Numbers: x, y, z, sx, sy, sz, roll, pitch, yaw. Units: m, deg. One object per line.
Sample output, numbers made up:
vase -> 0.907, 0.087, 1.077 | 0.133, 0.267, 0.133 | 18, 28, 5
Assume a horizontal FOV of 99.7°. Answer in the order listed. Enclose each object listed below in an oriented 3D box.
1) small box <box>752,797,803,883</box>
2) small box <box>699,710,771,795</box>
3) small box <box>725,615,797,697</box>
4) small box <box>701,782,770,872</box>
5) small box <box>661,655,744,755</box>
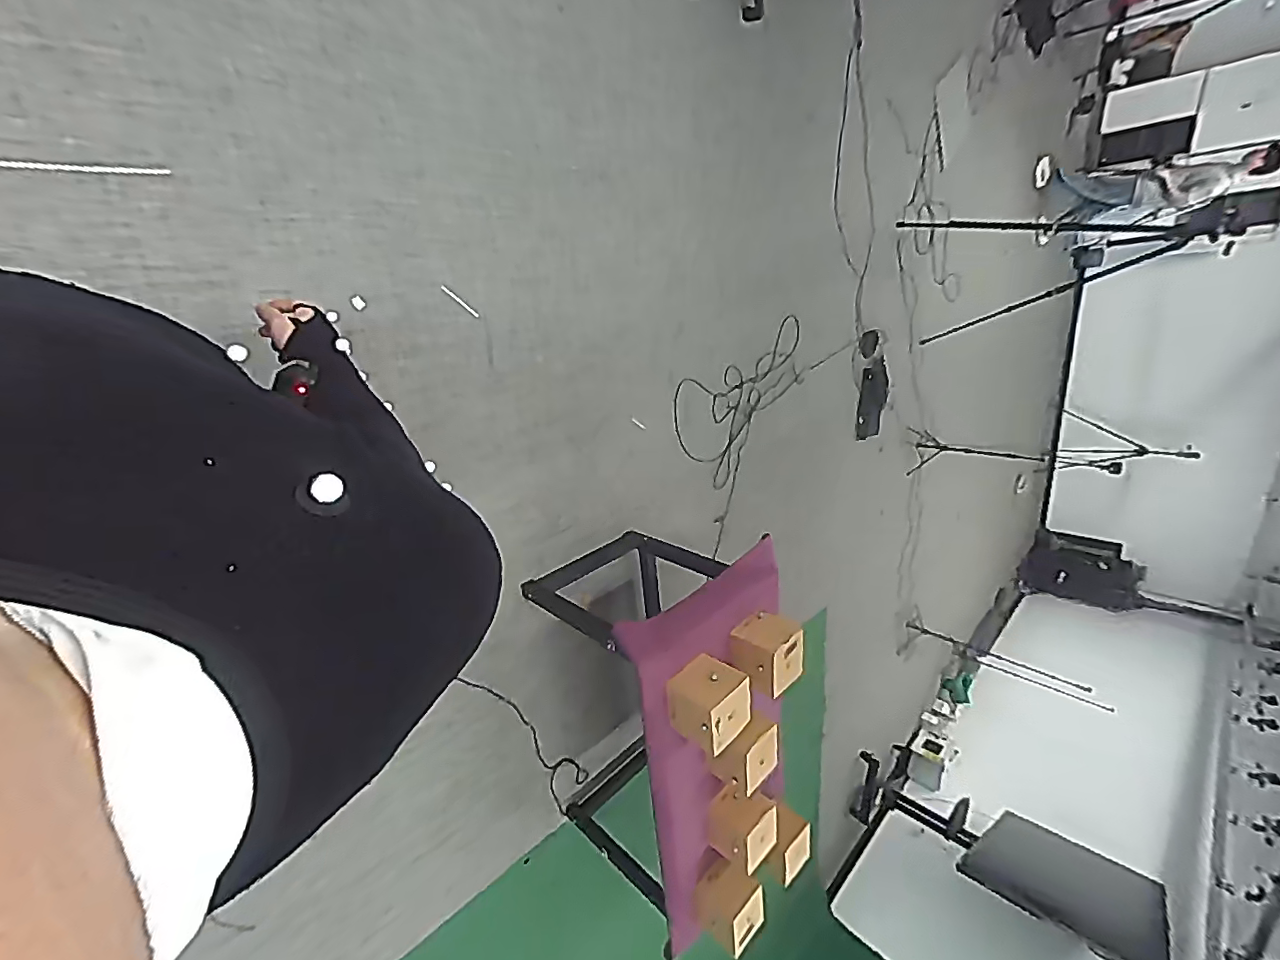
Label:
small box -> 0.506, 1.371, 2.073 | 0.168, 0.176, 0.179 | -19, 112, -39
small box -> 0.303, 0.854, 1.740 | 0.168, 0.176, 0.179 | -21, 115, -40
small box -> 0.389, 0.557, 1.749 | 0.168, 0.176, 0.179 | -22, 116, -39
small box -> 0.324, 1.166, 1.845 | 0.168, 0.176, 0.179 | -21, 113, -40
small box -> 0.182, 0.640, 1.562 | 0.179, 0.176, 0.168 | -25, 117, -40
